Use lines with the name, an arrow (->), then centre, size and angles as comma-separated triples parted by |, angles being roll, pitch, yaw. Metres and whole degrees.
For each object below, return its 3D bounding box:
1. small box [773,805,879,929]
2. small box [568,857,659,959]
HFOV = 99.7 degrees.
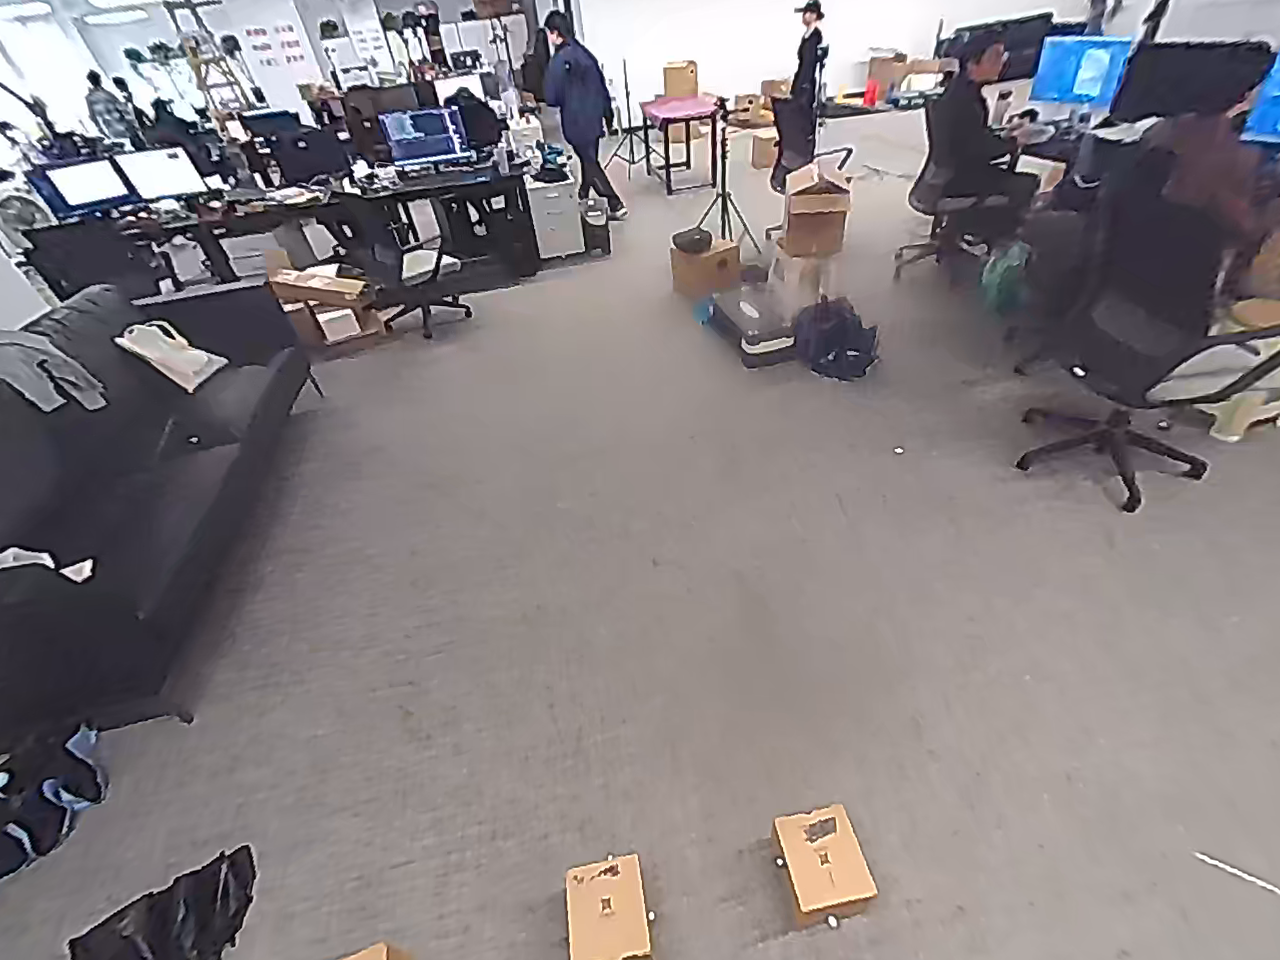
small box -> 0.408, 0.874, 1.223 | 0.168, 0.176, 0.179 | -11, 41, -3
small box -> -0.057, 0.970, 1.188 | 0.168, 0.176, 0.179 | -11, 40, -4
